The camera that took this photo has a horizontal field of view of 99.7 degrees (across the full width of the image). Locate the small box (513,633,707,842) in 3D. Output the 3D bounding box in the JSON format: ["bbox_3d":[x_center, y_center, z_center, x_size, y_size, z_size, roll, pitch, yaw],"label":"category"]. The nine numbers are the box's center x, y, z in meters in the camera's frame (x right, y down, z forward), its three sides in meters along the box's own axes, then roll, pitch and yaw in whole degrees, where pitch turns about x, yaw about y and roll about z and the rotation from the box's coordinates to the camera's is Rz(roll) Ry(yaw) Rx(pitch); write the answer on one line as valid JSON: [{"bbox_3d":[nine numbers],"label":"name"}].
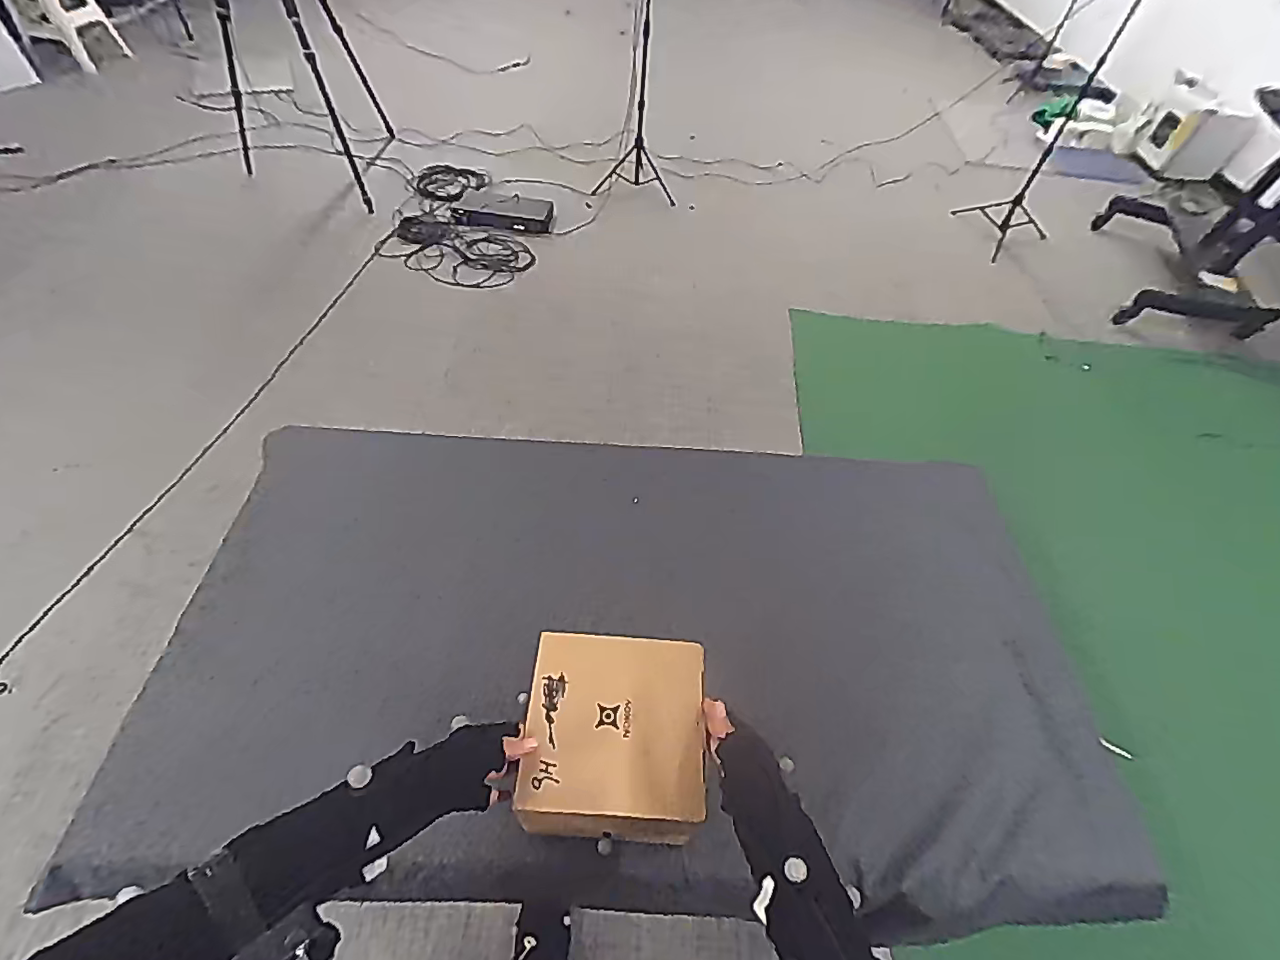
[{"bbox_3d":[-0.029,0.285,0.591,0.179,0.176,0.168,6,50,-2],"label":"small box"}]
